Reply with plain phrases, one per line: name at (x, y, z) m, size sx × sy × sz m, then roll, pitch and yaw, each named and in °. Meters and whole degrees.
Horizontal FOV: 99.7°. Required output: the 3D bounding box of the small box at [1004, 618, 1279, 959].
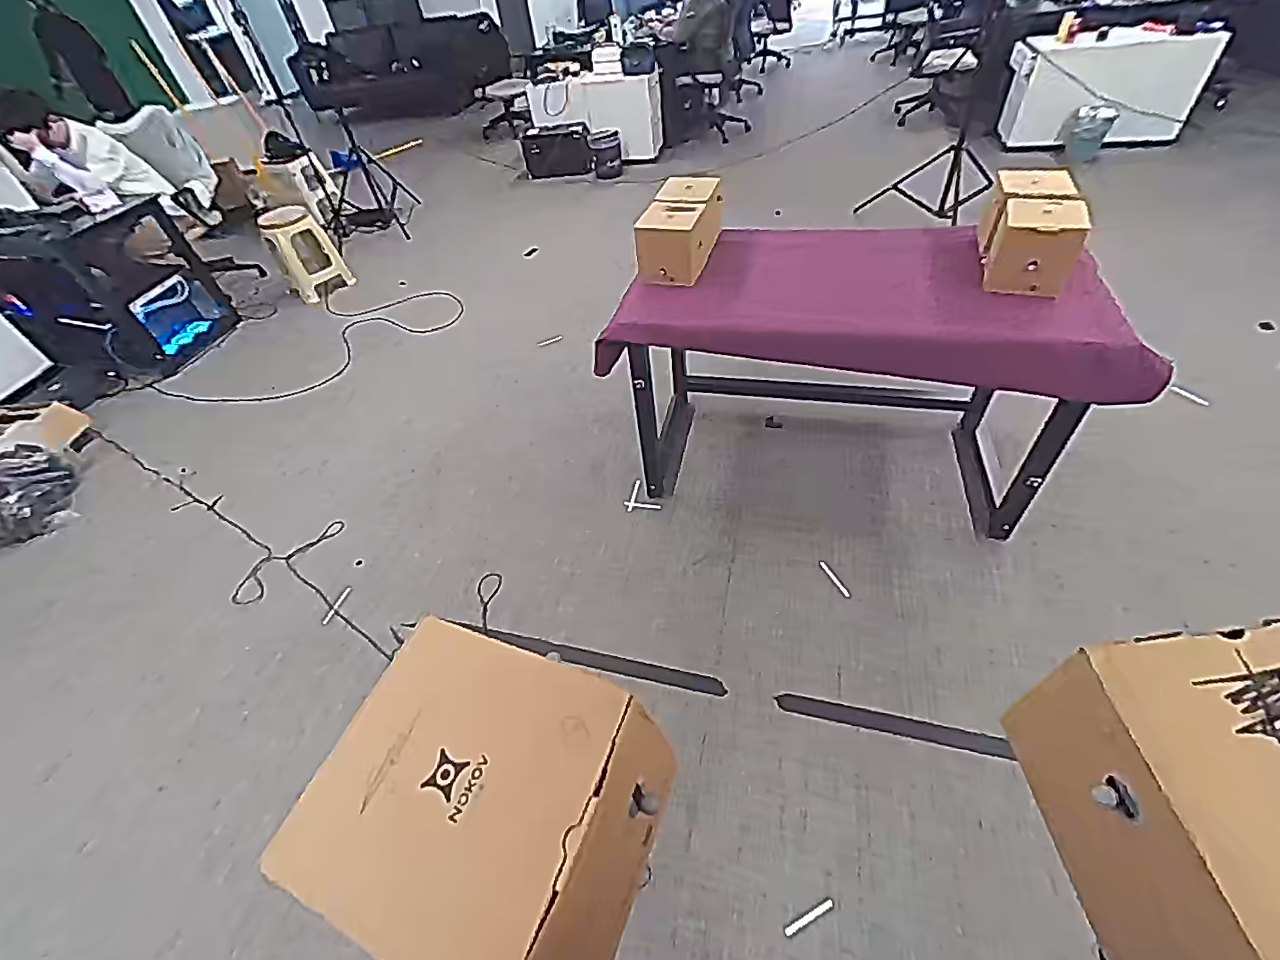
small box at (0.367, 0.204, 0.333) m, size 0.168 × 0.176 × 0.179 m, roll -11°, pitch 52°, yaw 7°

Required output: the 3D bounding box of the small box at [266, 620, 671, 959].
small box at (-0.092, 0.228, 0.379) m, size 0.179 × 0.176 × 0.168 m, roll 10°, pitch 53°, yaw 24°

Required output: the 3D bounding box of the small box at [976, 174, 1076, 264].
small box at (1.038, -0.711, 1.471) m, size 0.168 × 0.176 × 0.179 m, roll 10°, pitch 48°, yaw 16°

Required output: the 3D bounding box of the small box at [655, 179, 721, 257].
small box at (0.153, -0.822, 1.694) m, size 0.168 × 0.176 × 0.179 m, roll 10°, pitch 50°, yaw 17°
